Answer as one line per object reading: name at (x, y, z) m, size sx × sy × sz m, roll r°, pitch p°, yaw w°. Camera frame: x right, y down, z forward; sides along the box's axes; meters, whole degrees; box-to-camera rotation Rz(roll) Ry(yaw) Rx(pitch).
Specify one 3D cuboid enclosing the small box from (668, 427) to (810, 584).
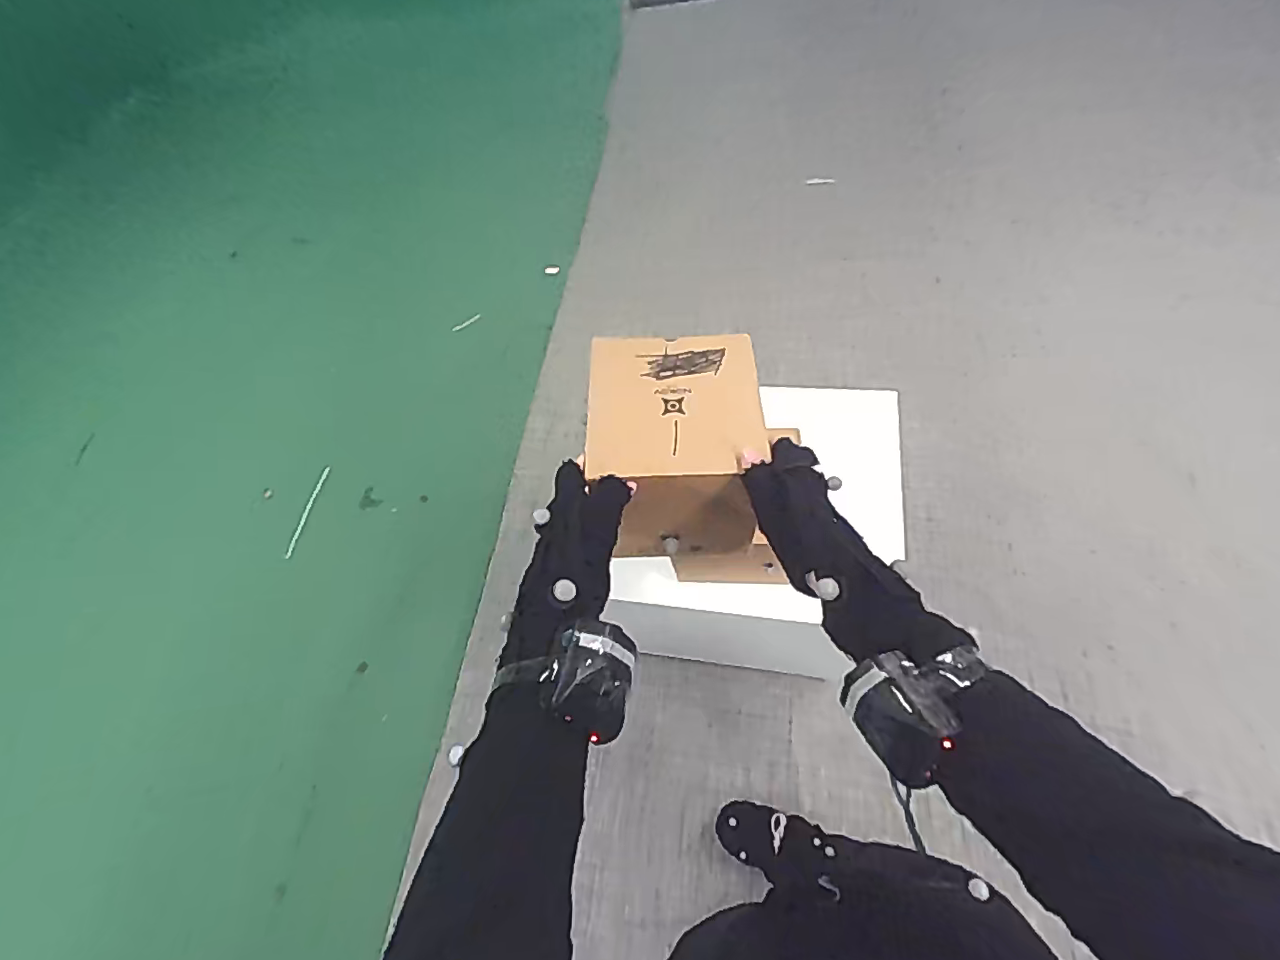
small box at (0.133, 0.042, 0.751) m, size 0.179 × 0.176 × 0.168 m, roll -2°, pitch 62°, yaw 12°

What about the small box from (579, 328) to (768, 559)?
small box at (0.027, -0.034, 0.572) m, size 0.168 × 0.176 × 0.179 m, roll -5°, pitch 56°, yaw 0°
